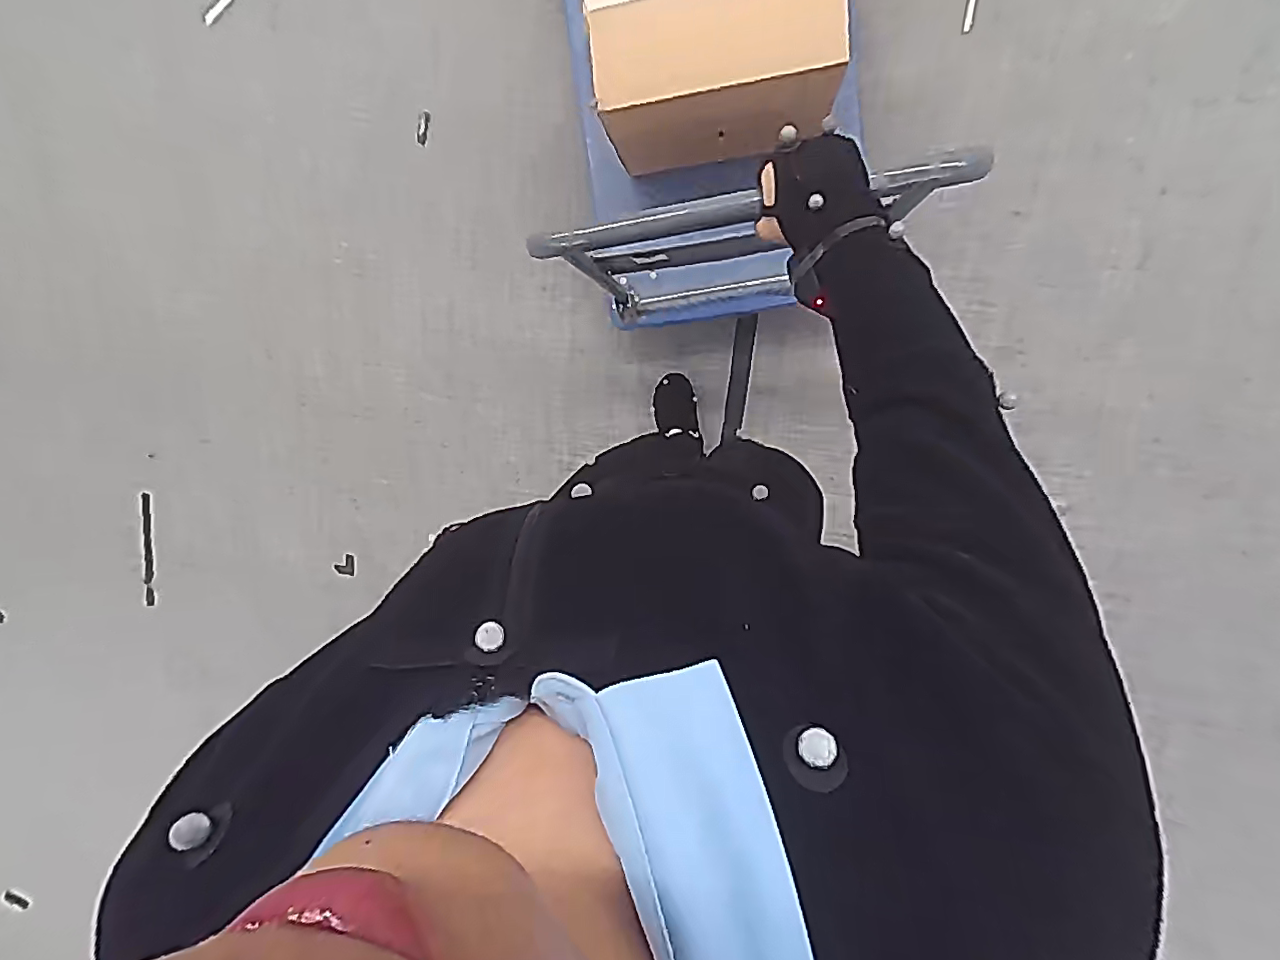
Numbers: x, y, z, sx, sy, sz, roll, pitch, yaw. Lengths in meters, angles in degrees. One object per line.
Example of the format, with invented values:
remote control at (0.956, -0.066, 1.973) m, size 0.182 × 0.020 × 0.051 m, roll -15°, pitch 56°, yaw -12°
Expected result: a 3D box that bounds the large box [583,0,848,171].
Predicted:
large box at (0.130, -0.808, 0.973) m, size 0.408 × 0.320 × 0.320 m, roll -5°, pitch 99°, yaw 11°
